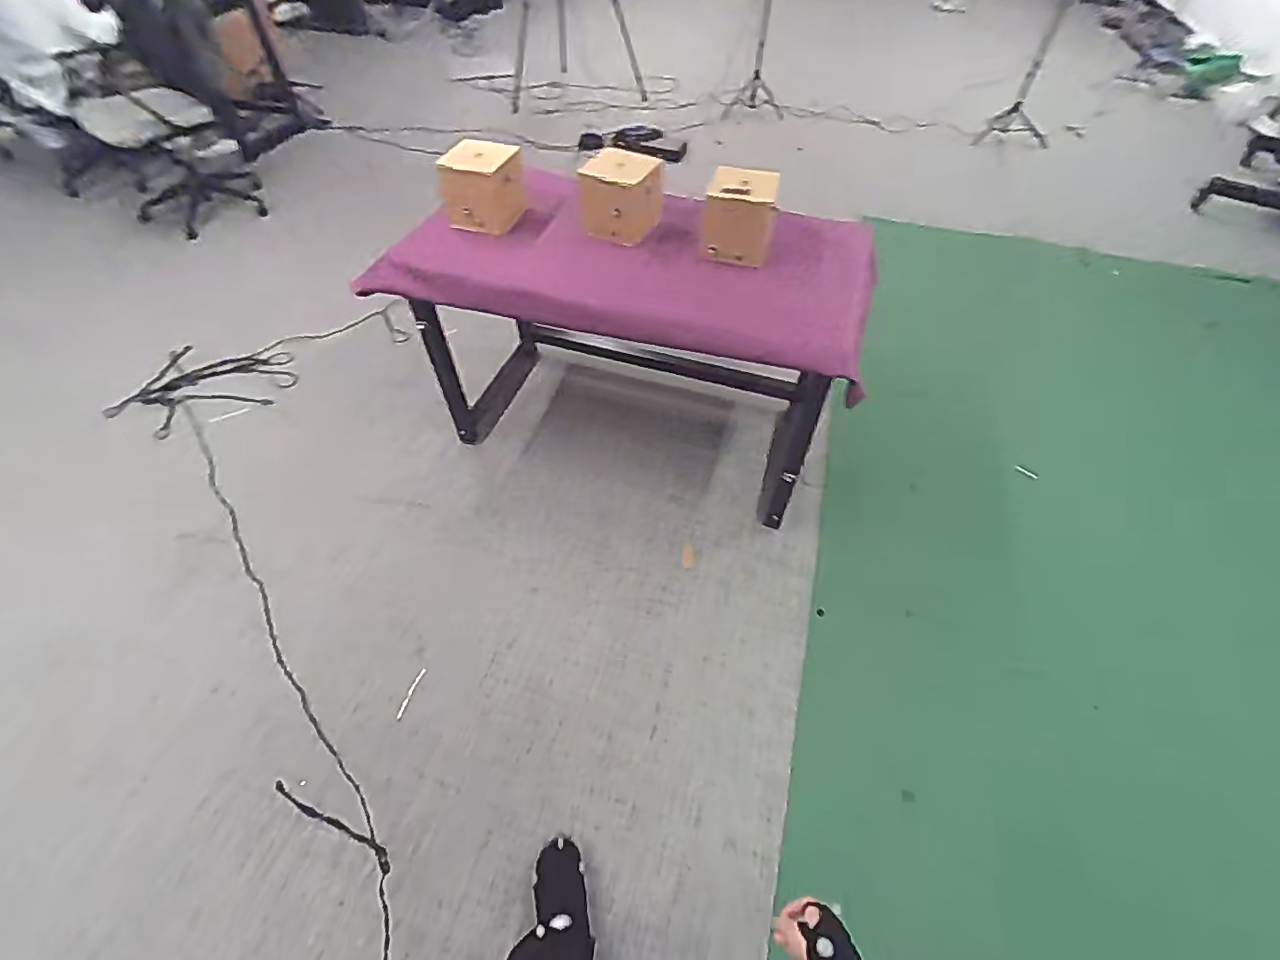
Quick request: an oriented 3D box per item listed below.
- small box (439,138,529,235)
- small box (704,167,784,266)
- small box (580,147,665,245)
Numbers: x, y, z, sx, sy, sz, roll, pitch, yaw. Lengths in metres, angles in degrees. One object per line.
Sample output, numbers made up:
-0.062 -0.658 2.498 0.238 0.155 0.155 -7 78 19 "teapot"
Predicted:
-0.419 -0.808 1.489 0.168 0.176 0.179 15 54 10 "small box"
0.265 -0.678 1.398 0.168 0.176 0.179 13 52 9 "small box"
-0.043 -0.763 1.461 0.168 0.176 0.179 24 55 16 "small box"
